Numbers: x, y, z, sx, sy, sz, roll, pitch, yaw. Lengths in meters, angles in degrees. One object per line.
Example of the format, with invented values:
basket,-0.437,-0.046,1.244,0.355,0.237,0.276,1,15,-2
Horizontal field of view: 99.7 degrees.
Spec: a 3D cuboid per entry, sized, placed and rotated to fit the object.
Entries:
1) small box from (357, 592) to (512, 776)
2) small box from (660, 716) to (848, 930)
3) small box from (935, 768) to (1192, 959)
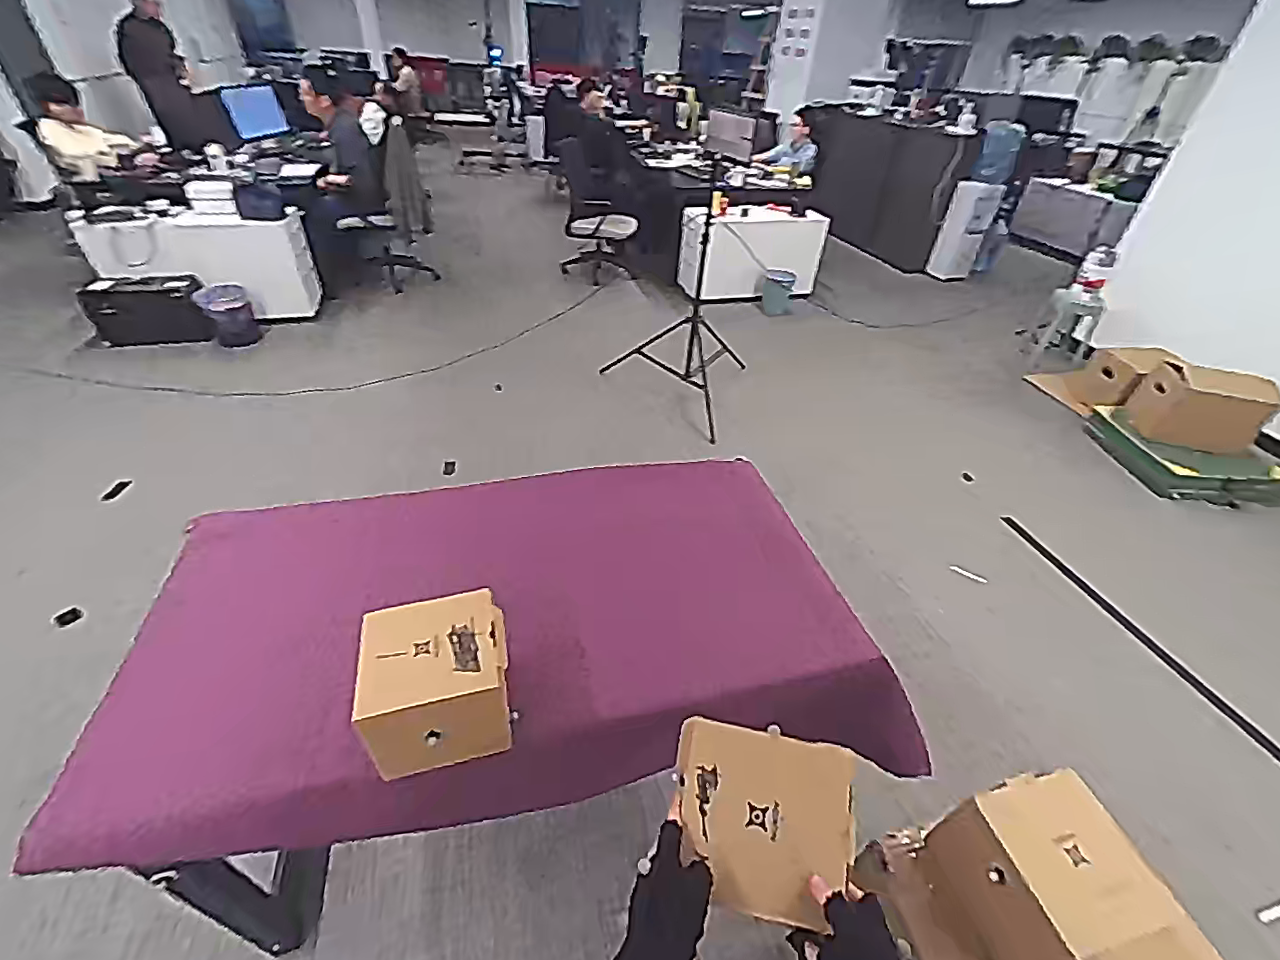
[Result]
small box,-0.282,0.290,0.776,0.179,0.176,0.168,-8,39,-14
small box,0.125,0.382,0.632,0.179,0.176,0.168,10,64,4
small box,0.536,0.523,0.720,0.168,0.176,0.179,-8,41,-11
